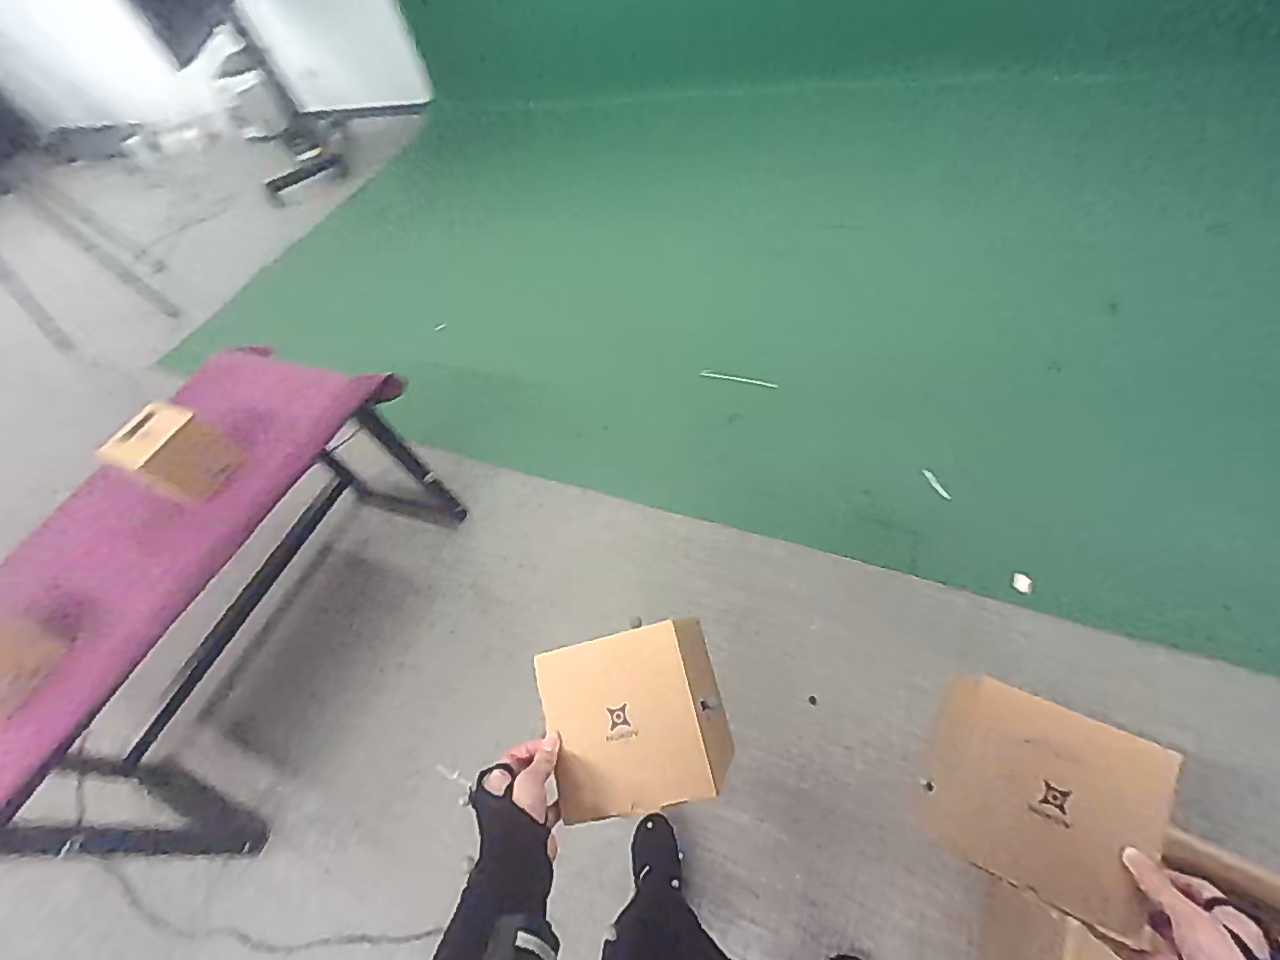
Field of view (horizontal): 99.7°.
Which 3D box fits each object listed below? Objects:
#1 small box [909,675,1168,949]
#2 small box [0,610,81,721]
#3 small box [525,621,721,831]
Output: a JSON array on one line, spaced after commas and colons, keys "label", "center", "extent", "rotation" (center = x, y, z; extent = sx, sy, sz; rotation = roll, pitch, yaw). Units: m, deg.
[{"label": "small box", "center": [0.405, 0.329, 0.583], "extent": [0.168, 0.176, 0.179], "rotation": [19, 77, 23]}, {"label": "small box", "center": [-1.332, 0.371, 1.106], "extent": [0.179, 0.176, 0.168], "rotation": [13, 60, 23]}, {"label": "small box", "center": [-0.012, 0.273, 0.638], "extent": [0.168, 0.176, 0.179], "rotation": [-19, 74, 10]}]
